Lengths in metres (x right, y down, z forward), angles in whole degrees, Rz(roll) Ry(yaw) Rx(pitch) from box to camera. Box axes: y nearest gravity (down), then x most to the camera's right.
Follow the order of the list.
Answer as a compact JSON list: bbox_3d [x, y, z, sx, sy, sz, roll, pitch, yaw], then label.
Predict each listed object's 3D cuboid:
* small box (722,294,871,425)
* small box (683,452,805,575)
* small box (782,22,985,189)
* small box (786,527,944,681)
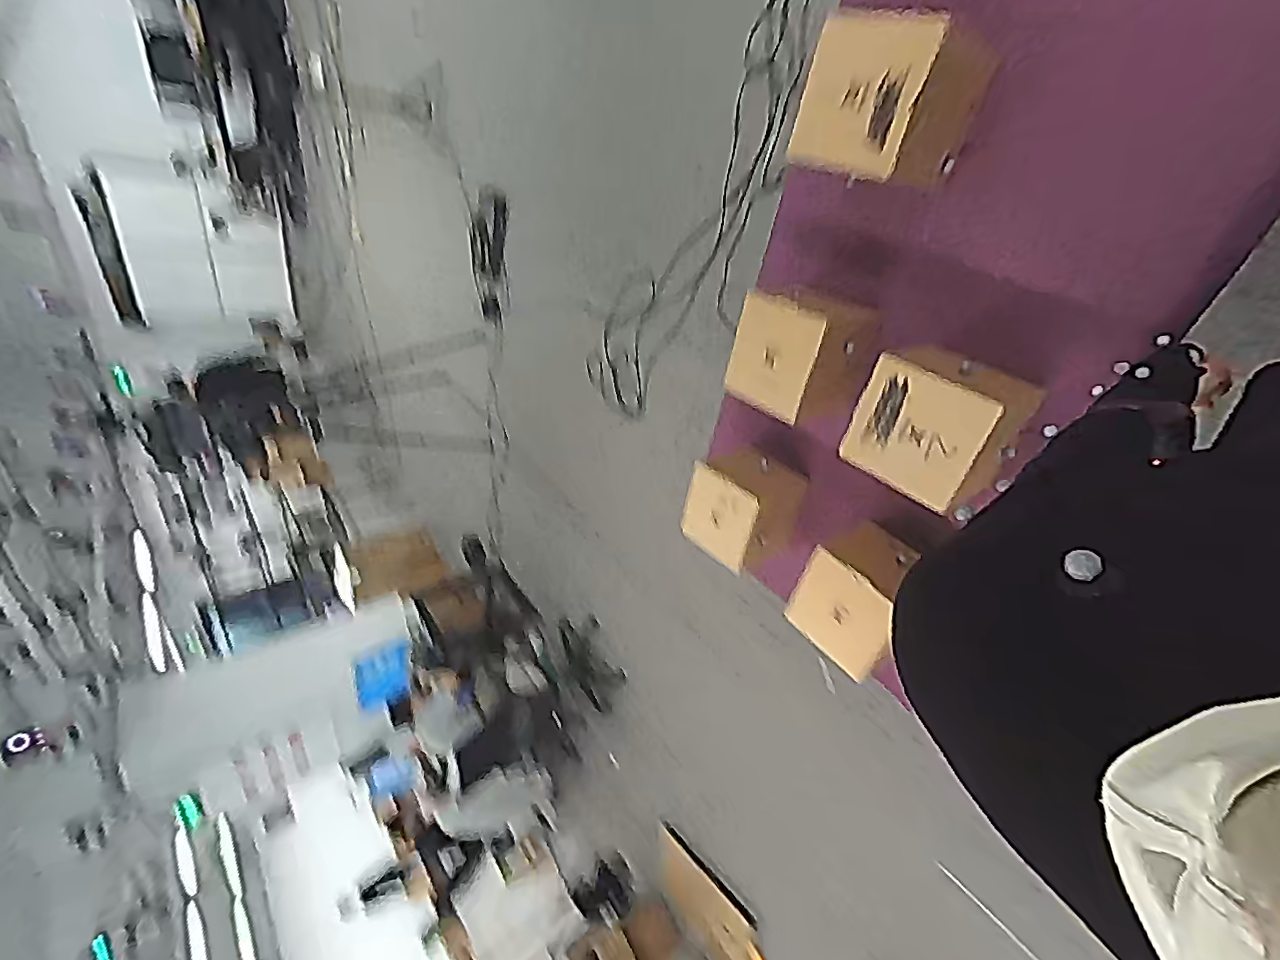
[{"bbox_3d":[0.277,-0.221,0.954,0.168,0.176,0.179,39,131,38],"label":"small box"},{"bbox_3d":[0.217,0.062,1.130,0.168,0.176,0.179,36,129,38],"label":"small box"},{"bbox_3d":[0.339,-0.518,0.761,0.179,0.176,0.168,41,132,37],"label":"small box"},{"bbox_3d":[0.397,0.211,0.957,0.168,0.176,0.179,42,132,37],"label":"small box"}]
